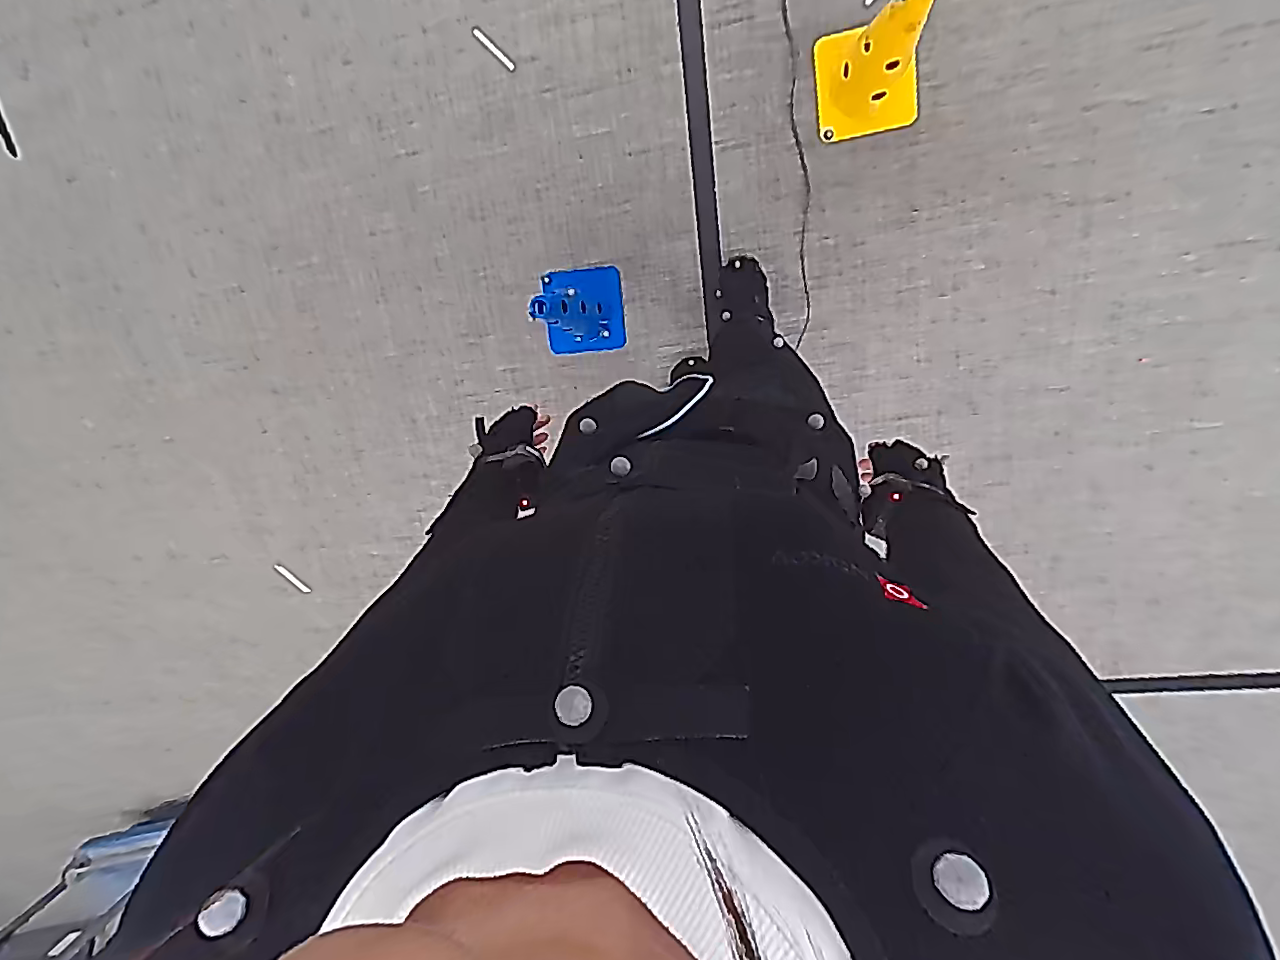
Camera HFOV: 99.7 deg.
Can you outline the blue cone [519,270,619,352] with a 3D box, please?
[{"bbox_3d":[-0.175,-0.380,1.203,0.192,0.380,0.193,-1,106,10],"label":"blue cone"}]
